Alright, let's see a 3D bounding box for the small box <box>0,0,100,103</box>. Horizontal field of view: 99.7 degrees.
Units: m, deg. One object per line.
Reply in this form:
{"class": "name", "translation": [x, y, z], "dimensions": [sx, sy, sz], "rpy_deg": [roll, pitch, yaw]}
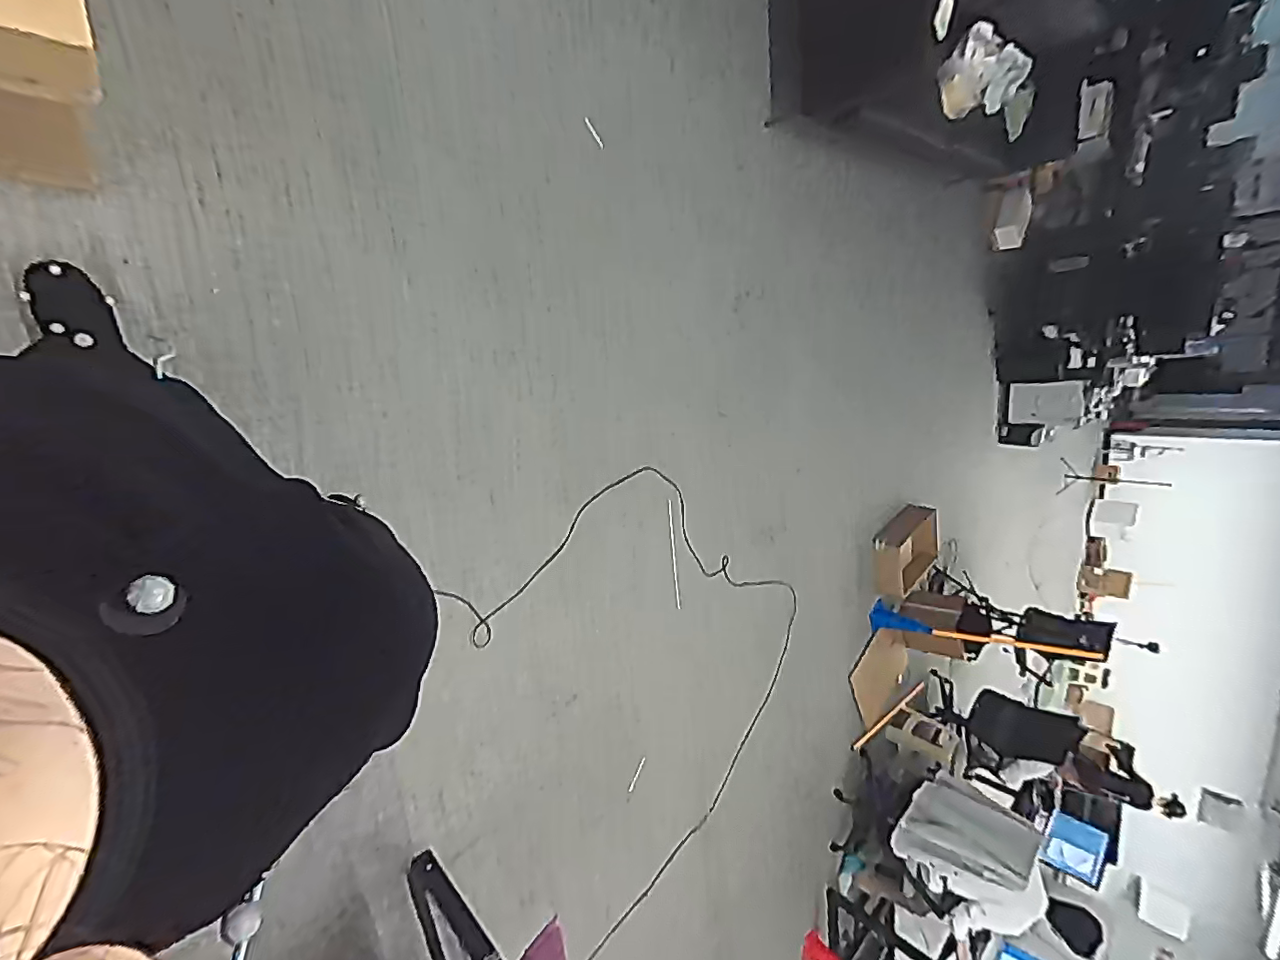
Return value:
{"class": "small box", "translation": [-0.725, -0.554, 0.591], "dimensions": [0.168, 0.176, 0.179], "rpy_deg": [-13, 105, -41]}
